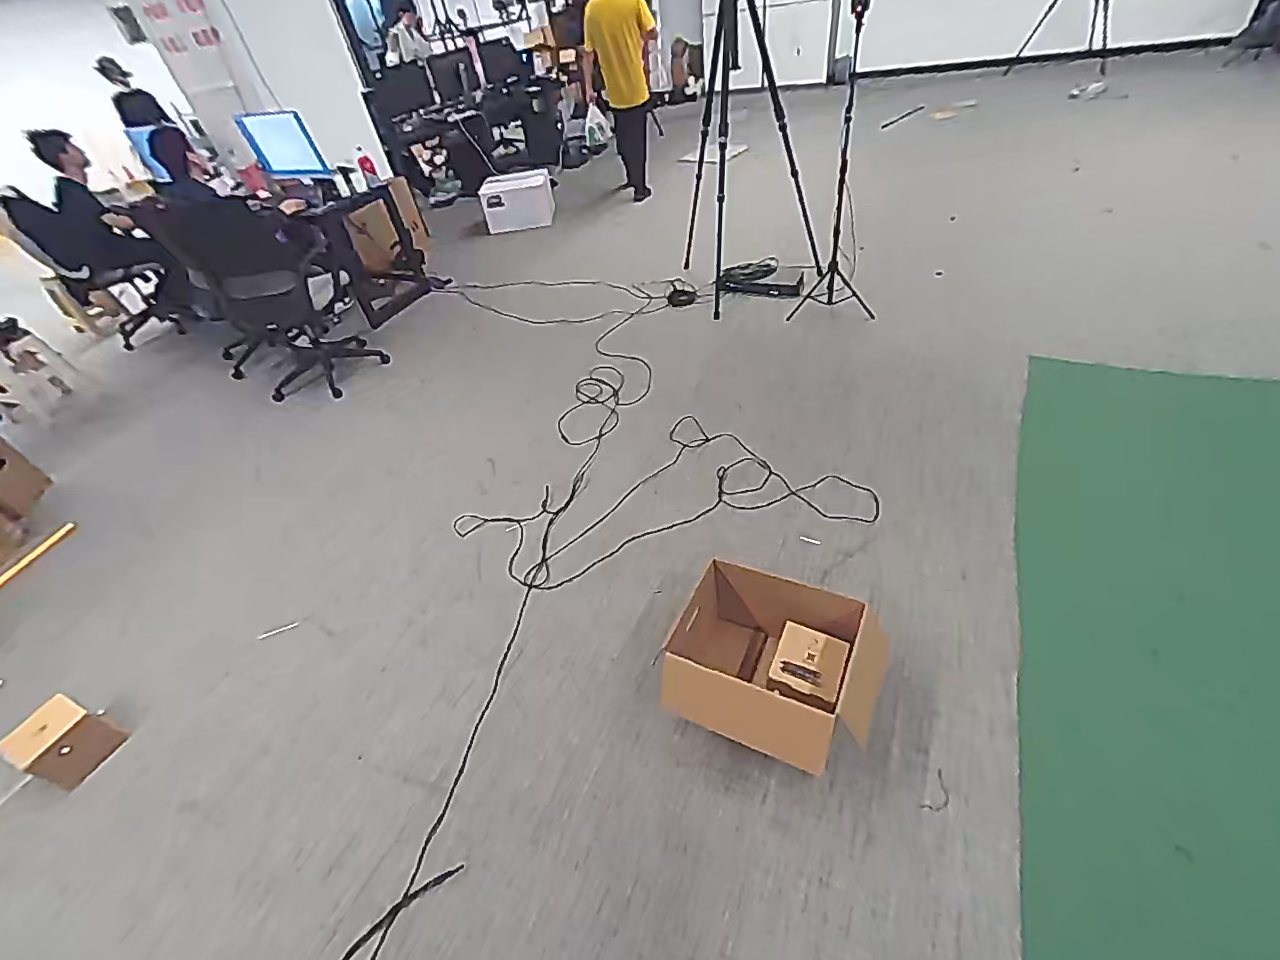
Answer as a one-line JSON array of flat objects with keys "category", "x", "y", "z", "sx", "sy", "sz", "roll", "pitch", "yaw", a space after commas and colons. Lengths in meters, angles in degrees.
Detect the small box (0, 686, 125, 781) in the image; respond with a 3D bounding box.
[{"category": "small box", "x": -1.686, "y": 0.746, "z": 1.590, "sx": 0.168, "sy": 0.176, "sz": 0.179, "roll": 13, "pitch": 49, "yaw": 22}]
